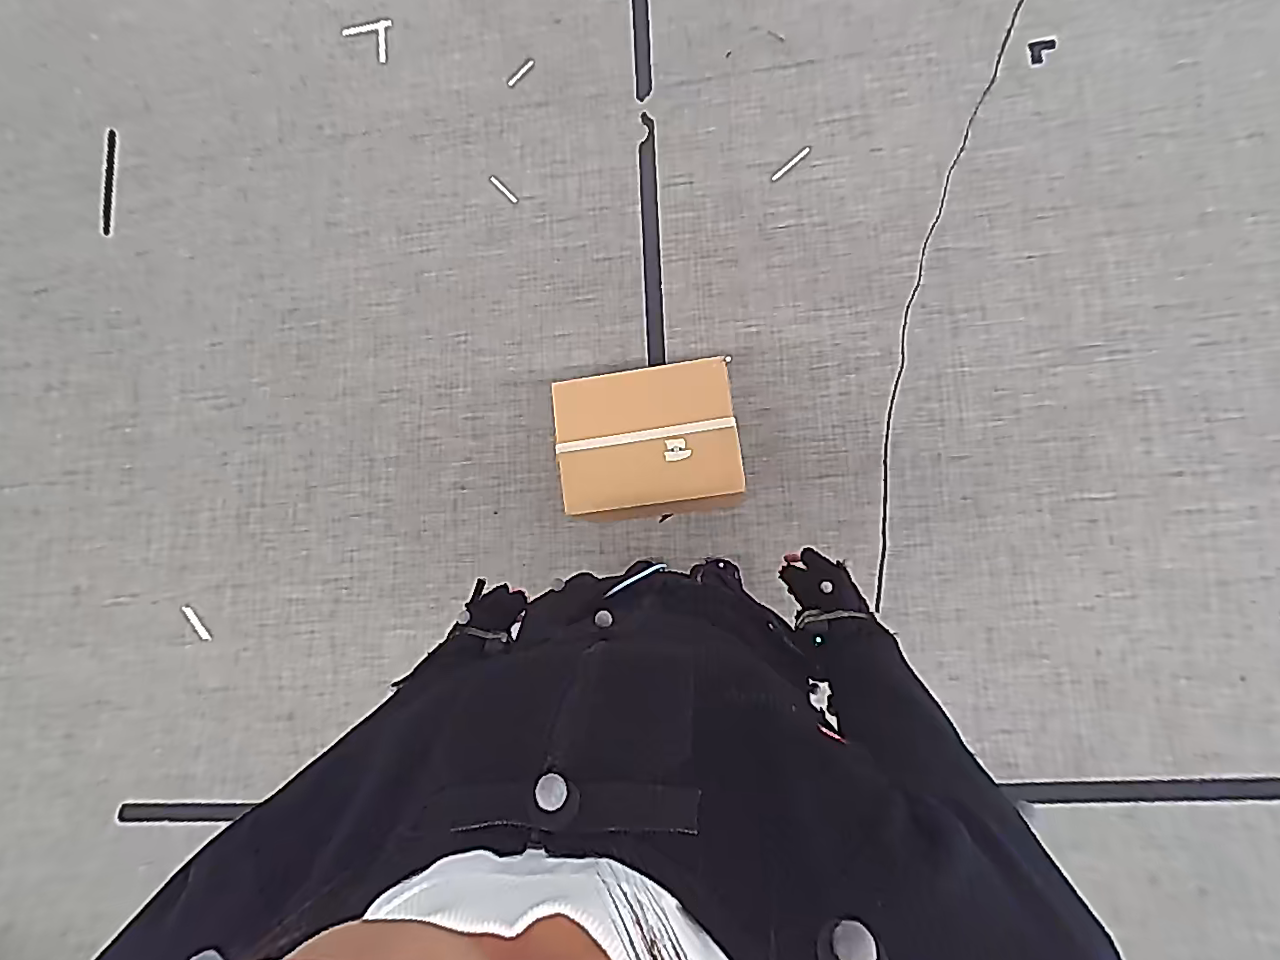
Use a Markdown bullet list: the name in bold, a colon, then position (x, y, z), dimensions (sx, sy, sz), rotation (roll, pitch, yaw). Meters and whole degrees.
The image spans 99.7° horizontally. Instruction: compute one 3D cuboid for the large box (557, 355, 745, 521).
- **large box**: position (0.033, -0.085, 1.372), dimensions (0.408, 0.320, 0.320), rotation (-8, 82, 5)
